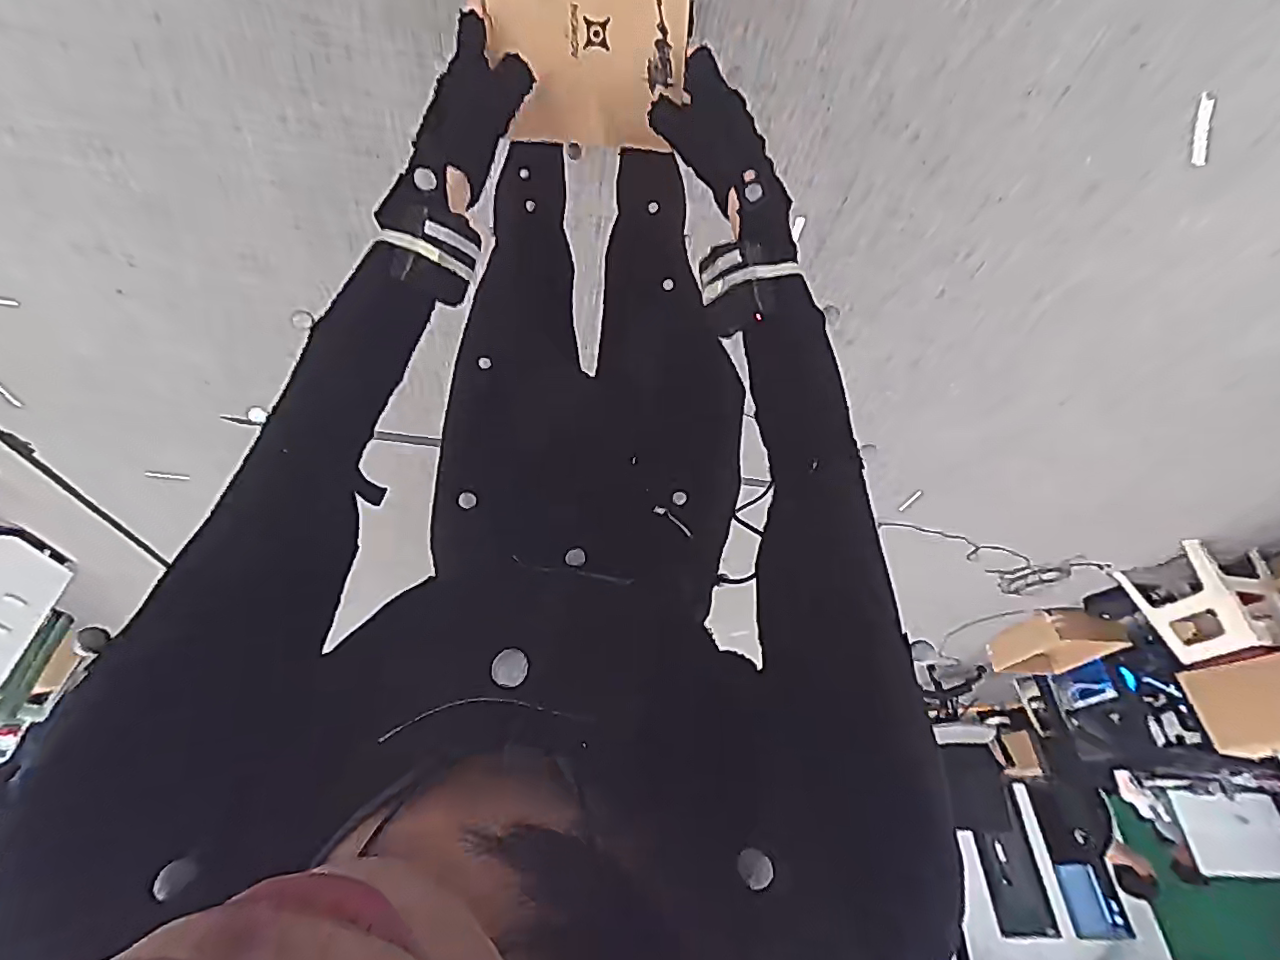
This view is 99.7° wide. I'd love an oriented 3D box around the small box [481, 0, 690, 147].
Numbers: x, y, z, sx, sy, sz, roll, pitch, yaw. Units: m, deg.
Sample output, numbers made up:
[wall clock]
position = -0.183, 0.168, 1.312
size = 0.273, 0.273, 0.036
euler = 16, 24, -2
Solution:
[small box]
position = -0.049, -0.425, 0.523
size = 0.179, 0.176, 0.168
euler = 2, 122, -4
